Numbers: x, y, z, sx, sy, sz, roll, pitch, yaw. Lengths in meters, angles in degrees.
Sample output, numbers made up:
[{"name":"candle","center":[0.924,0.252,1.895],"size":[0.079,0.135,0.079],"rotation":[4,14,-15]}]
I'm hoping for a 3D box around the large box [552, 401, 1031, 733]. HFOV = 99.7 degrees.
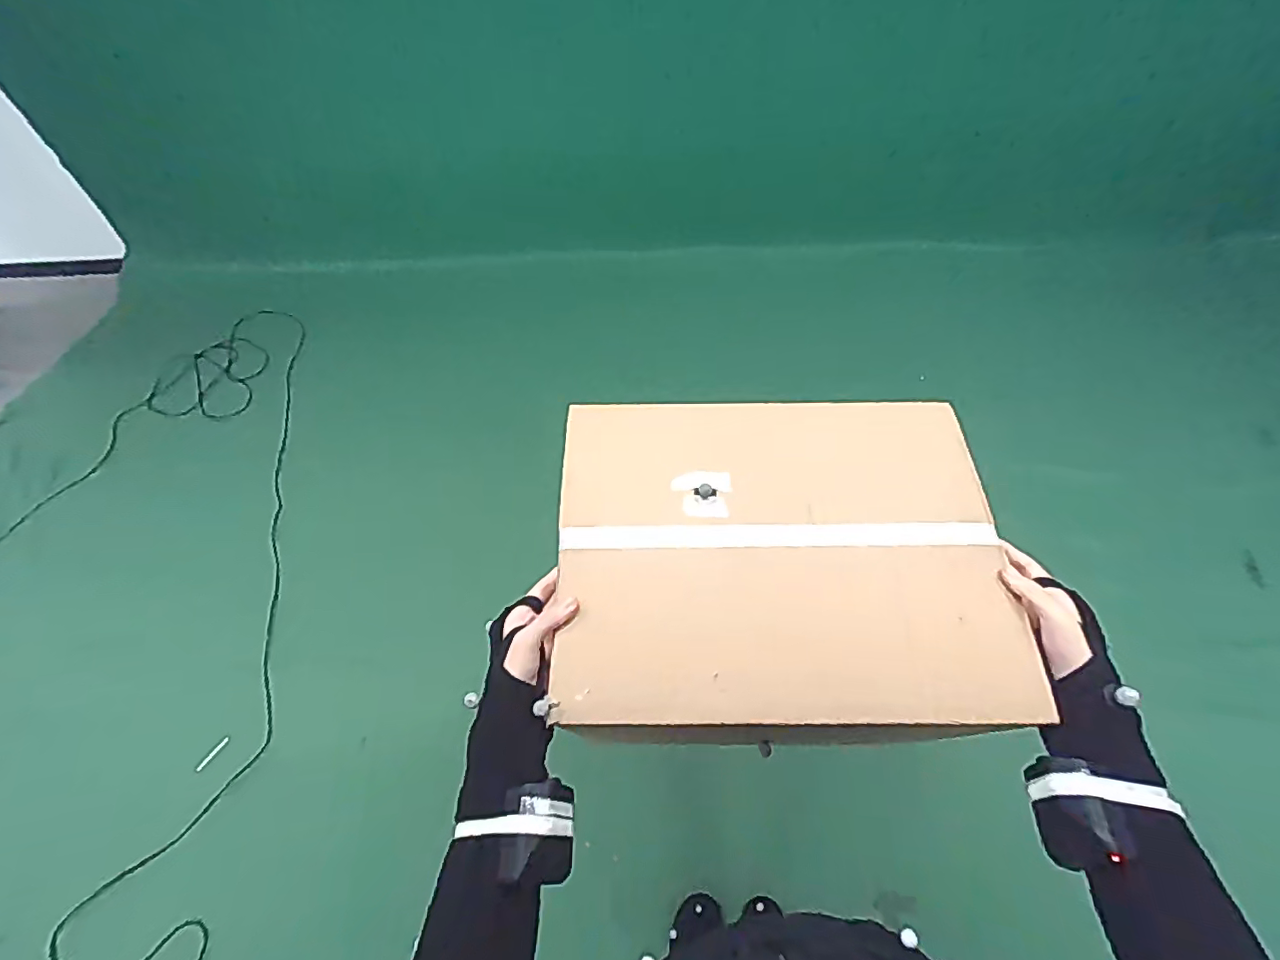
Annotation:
[{"name":"large box","center":[0.128,0.125,0.644],"size":[0.408,0.320,0.320],"rotation":[-1,62,1]}]
